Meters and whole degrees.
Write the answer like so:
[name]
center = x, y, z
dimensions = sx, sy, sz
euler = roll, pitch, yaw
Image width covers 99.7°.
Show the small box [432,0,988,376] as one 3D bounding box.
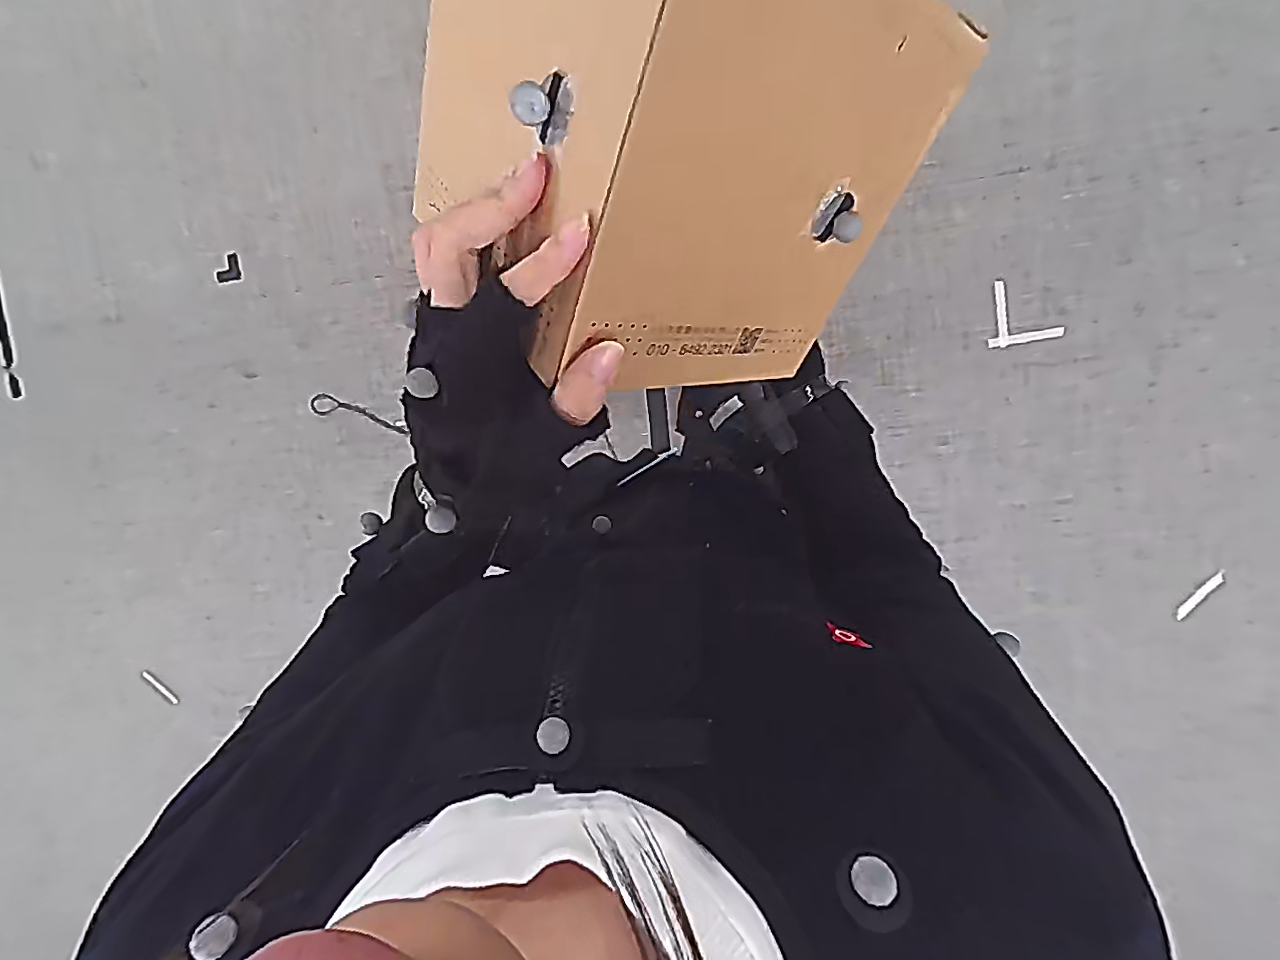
[small box]
center = 0.012, -0.164, 0.269
dimensions = 0.179, 0.168, 0.176
euler = 51, 134, 30
